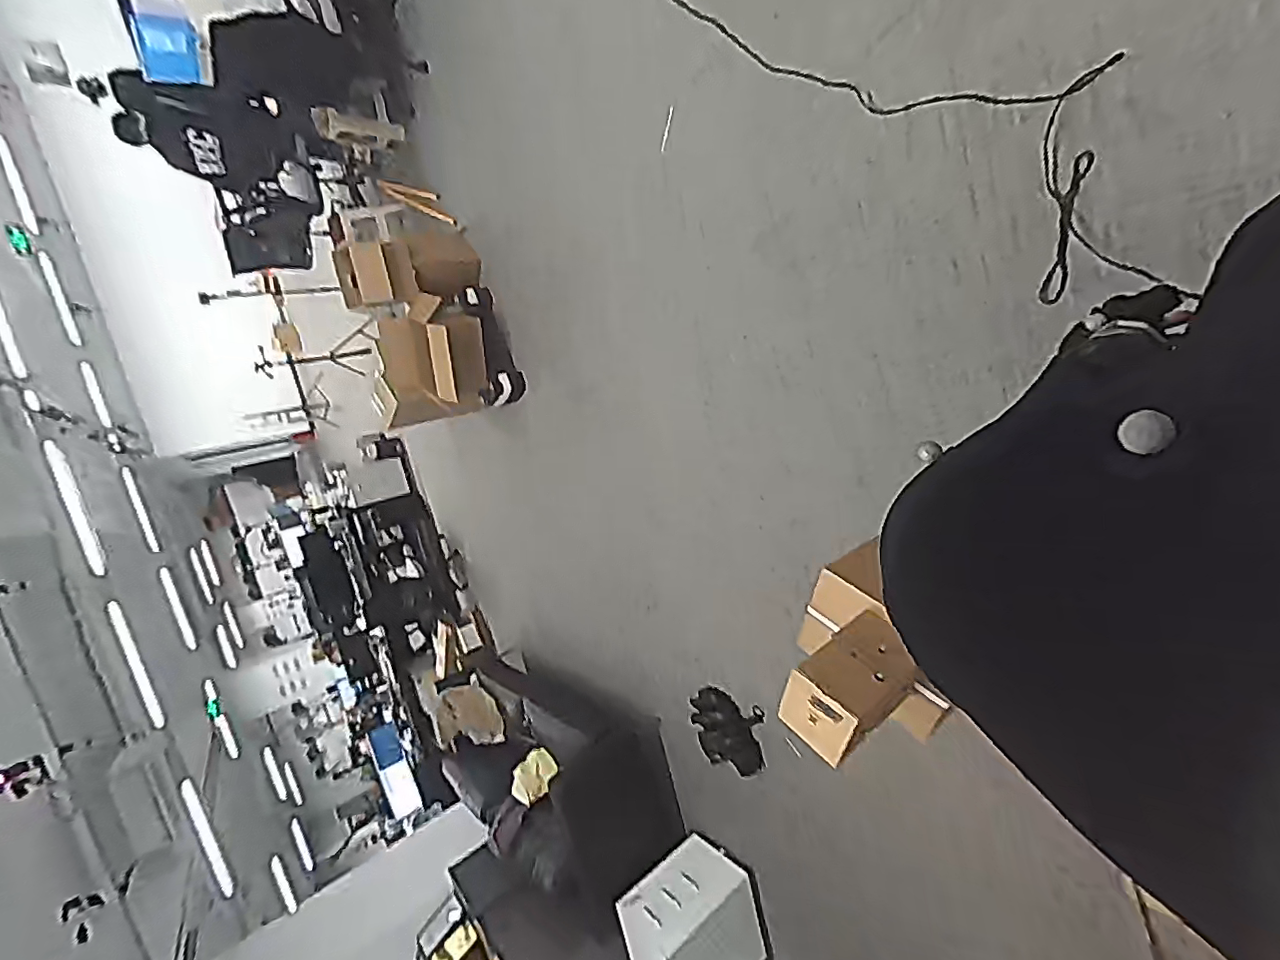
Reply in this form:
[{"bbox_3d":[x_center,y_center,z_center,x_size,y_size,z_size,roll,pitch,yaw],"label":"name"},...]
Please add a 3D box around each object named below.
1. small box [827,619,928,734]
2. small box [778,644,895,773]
[{"bbox_3d":[0.575,0.474,1.335,0.179,0.176,0.168,32,130,44],"label":"small box"},{"bbox_3d":[0.449,0.510,1.231,0.168,0.176,0.179,37,133,40],"label":"small box"}]
